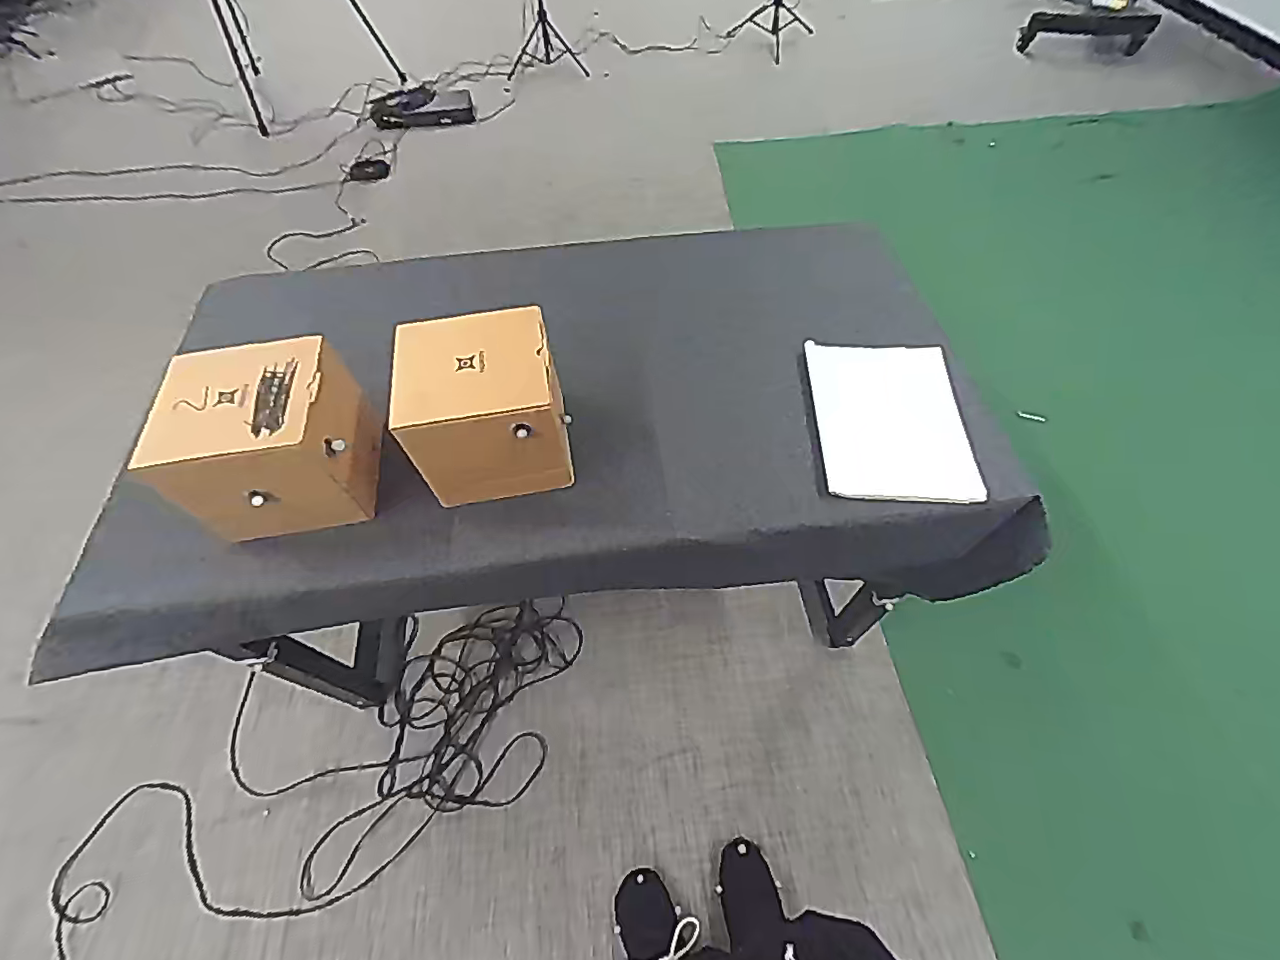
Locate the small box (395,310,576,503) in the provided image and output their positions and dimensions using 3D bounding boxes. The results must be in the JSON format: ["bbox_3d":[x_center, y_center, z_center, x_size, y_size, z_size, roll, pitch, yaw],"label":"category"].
[{"bbox_3d":[-0.186,-0.087,0.689,0.179,0.176,0.168,-10,57,-5],"label":"small box"}]
